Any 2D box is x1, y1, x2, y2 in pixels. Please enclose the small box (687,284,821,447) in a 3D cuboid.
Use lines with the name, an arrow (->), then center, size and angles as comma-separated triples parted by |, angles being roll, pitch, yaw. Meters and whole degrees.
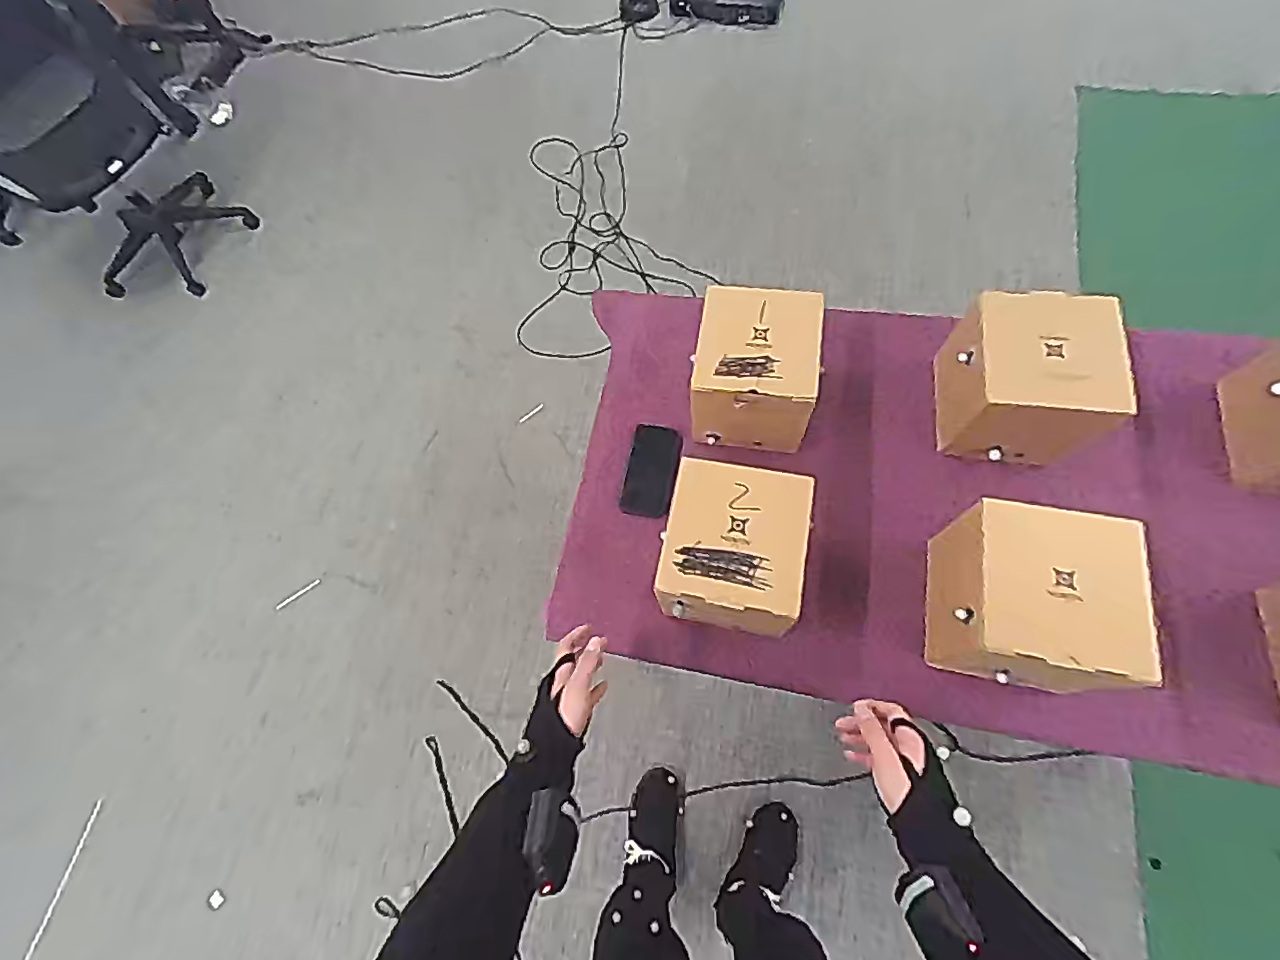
small box -> 0.167, -0.163, 0.807 | 0.168, 0.176, 0.179 | 7, 69, 10

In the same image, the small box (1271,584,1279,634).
small box -> 0.848, 0.190, 0.572 | 0.168, 0.176, 0.179 | 6, 70, 11

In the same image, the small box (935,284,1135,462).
small box -> 0.528, -0.143, 0.753 | 0.168, 0.176, 0.179 | 7, 70, 11

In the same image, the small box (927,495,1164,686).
small box -> 0.462, 0.138, 0.648 | 0.168, 0.176, 0.179 | 9, 69, 11

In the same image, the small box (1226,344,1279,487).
small box -> 0.907, -0.094, 0.680 | 0.168, 0.176, 0.179 | 8, 70, 12
